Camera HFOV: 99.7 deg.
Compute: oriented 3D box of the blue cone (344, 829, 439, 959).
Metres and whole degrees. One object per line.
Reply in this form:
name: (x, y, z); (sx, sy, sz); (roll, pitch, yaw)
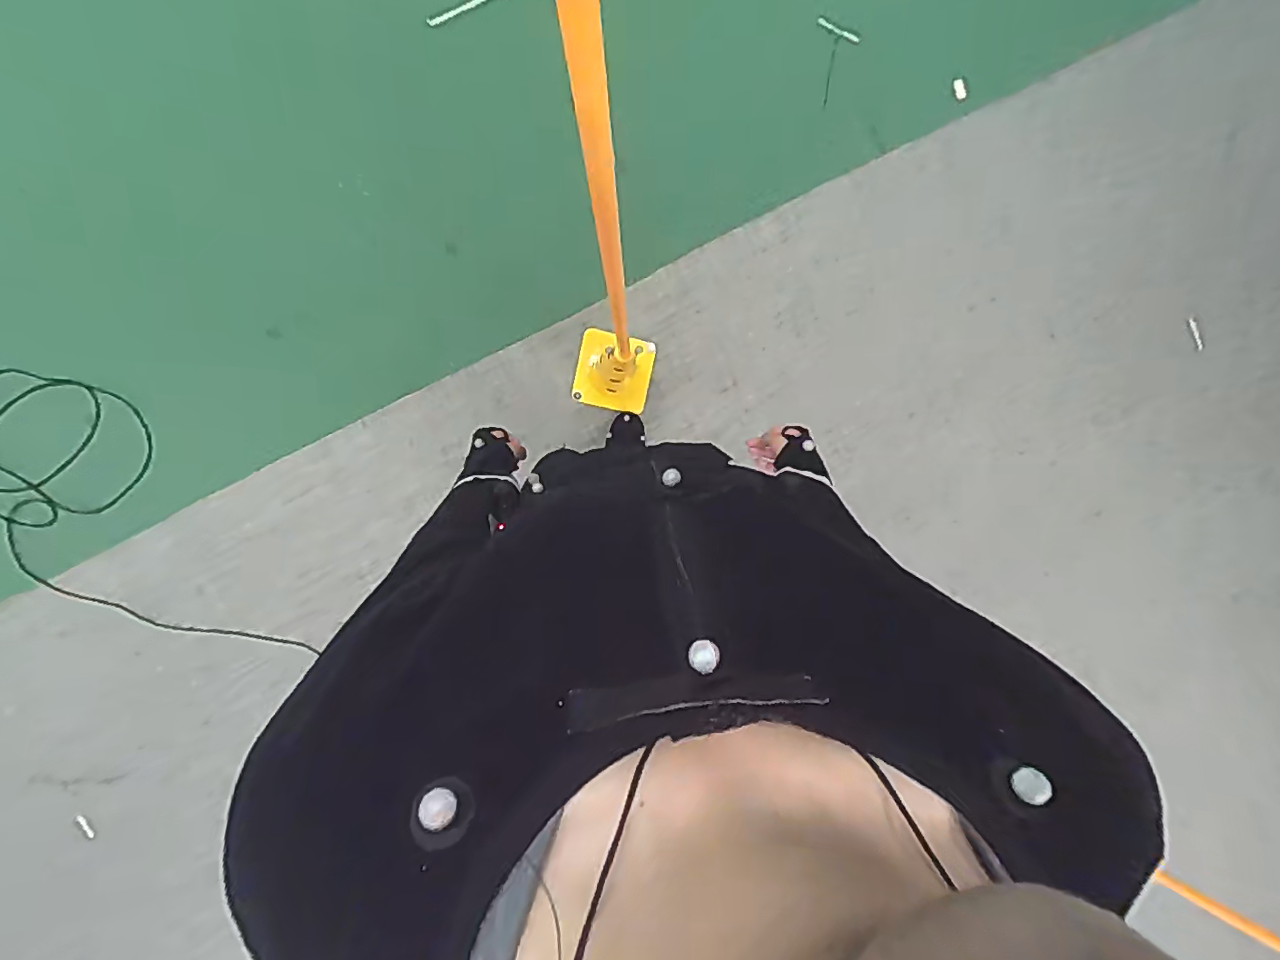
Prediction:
blue cone: (-0.648, 1.087, 1.340); (0.192, 0.380, 0.193); (18, 95, -8)
